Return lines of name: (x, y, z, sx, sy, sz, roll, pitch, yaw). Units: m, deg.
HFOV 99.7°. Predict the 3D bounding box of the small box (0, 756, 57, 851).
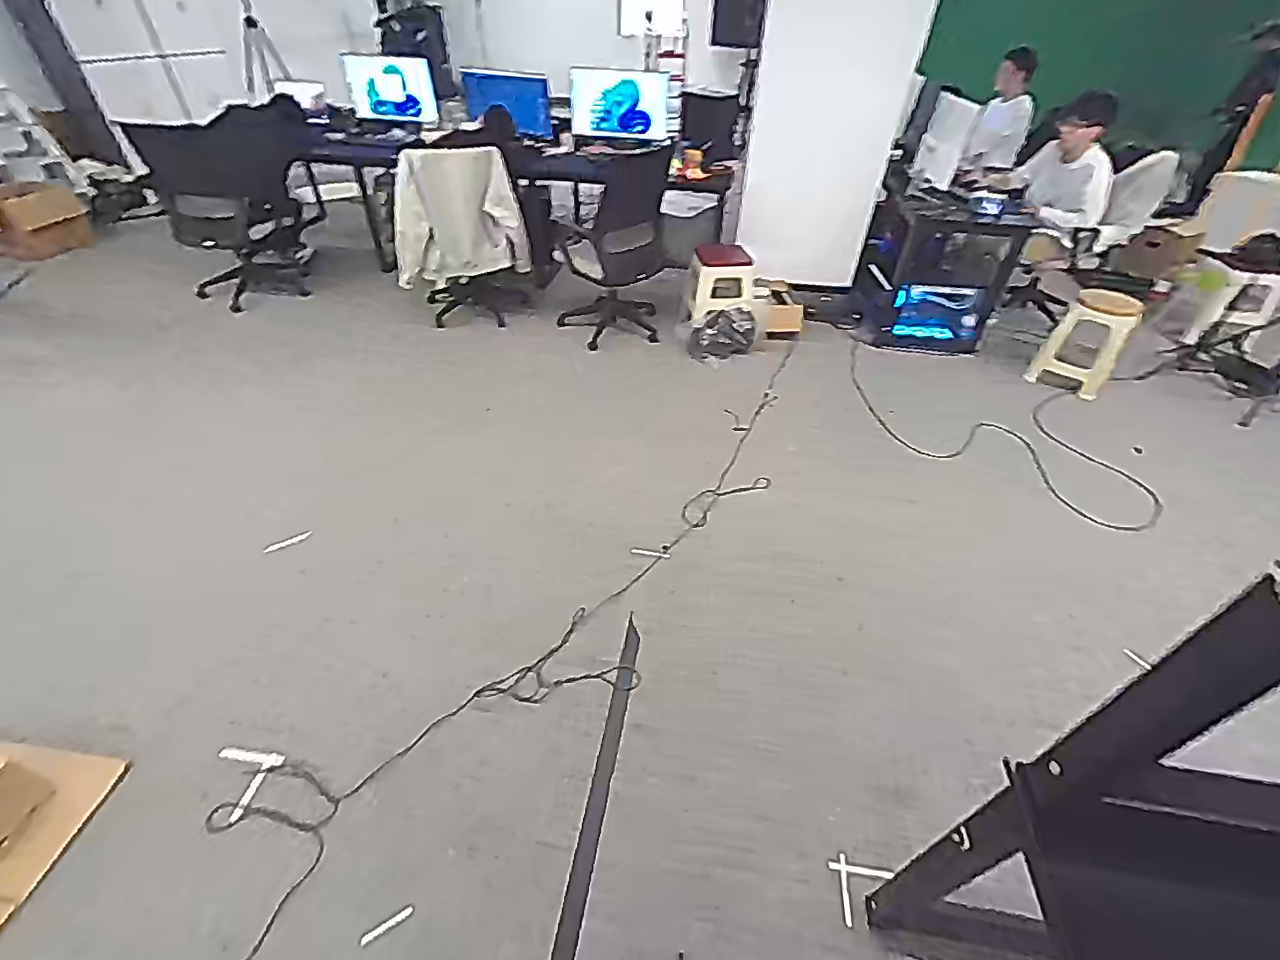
small box: (-1.519, 0.740, 1.228, 0.179, 0.176, 0.168, 4, 41, 2)
